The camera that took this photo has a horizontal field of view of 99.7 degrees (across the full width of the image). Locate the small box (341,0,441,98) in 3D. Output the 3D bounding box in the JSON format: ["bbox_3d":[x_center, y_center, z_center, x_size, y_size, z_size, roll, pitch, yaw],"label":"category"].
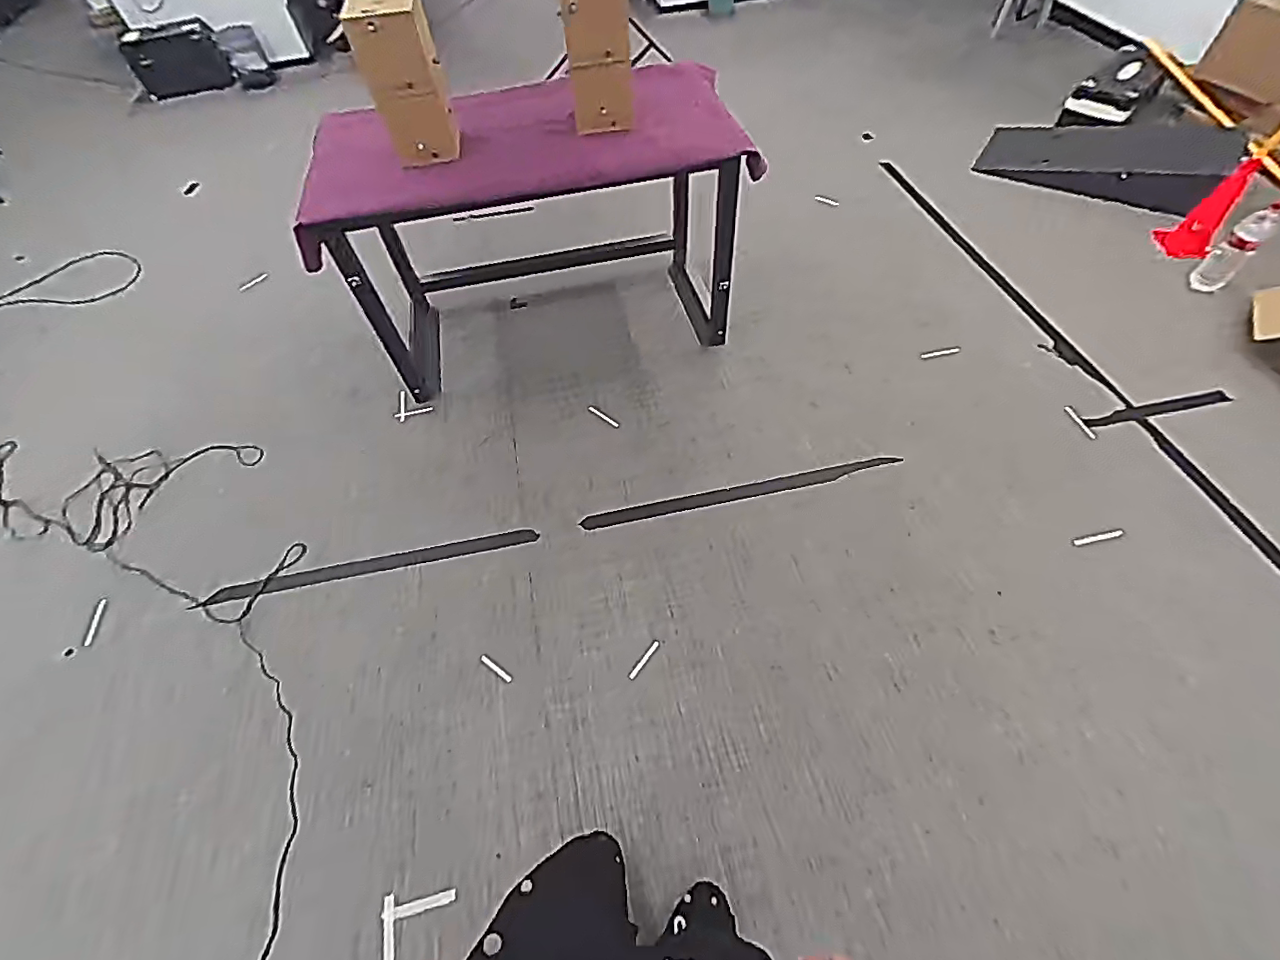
[{"bbox_3d":[-0.608,-1.085,1.345,0.168,0.176,0.179,-10,56,-2],"label":"small box"}]

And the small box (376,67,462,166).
[{"bbox_3d":[-0.598,-0.995,1.482,0.168,0.176,0.179,-10,57,-3],"label":"small box"}]

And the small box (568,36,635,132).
[{"bbox_3d":[-0.108,-1.118,1.530,0.168,0.176,0.179,-8,56,0],"label":"small box"}]
